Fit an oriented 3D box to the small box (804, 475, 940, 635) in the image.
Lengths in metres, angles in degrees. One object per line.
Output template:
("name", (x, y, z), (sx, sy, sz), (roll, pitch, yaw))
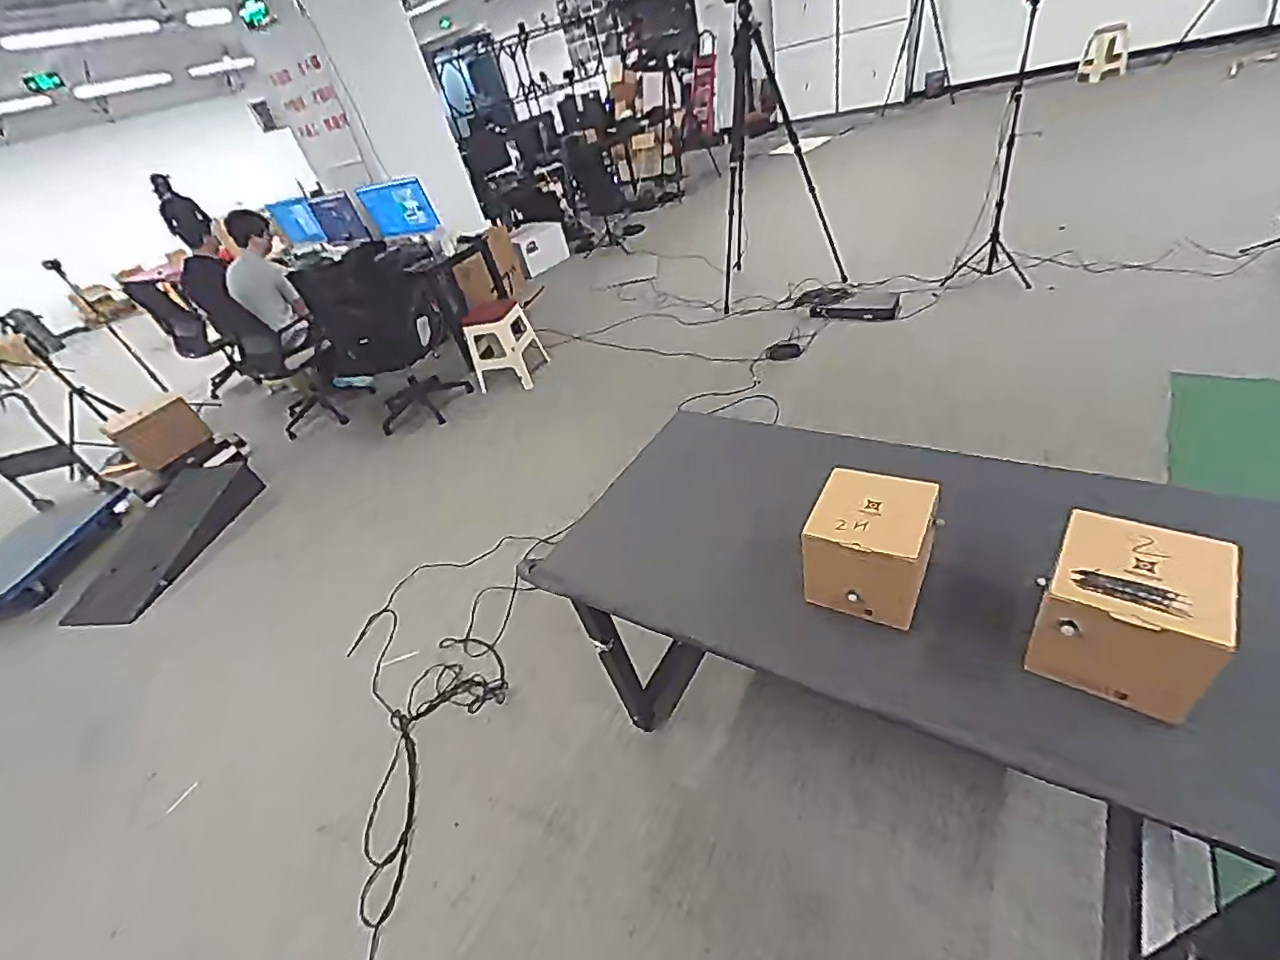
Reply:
("small box", (0.382, 0.120, 0.897), (0.168, 0.176, 0.179), (12, 45, 33))
